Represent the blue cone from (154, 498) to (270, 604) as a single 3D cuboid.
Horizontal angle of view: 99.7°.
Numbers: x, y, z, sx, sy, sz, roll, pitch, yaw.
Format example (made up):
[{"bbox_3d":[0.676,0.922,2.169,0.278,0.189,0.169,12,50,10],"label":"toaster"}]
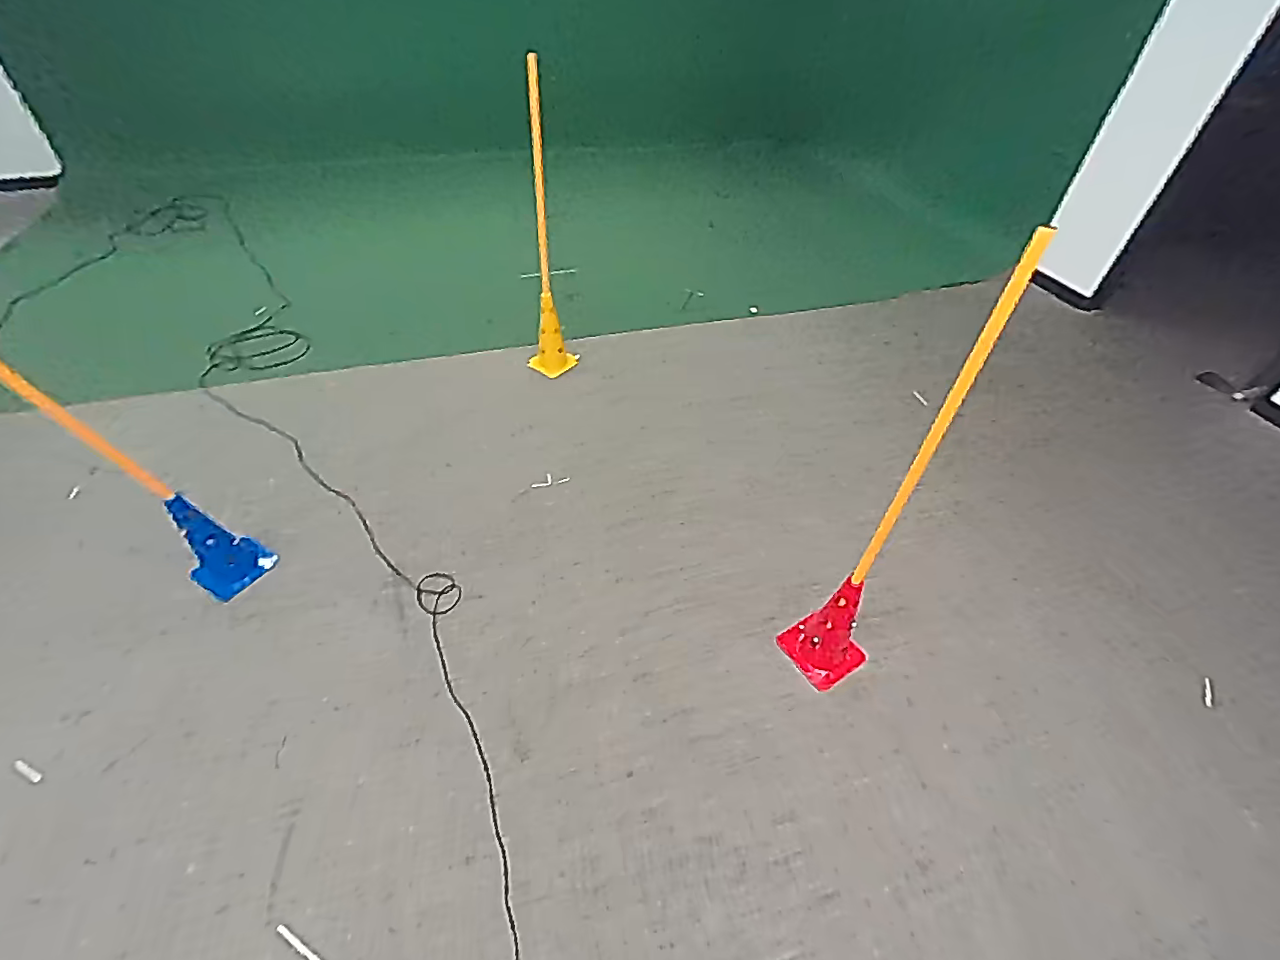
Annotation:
[{"bbox_3d":[-1.328,0.192,1.637,0.192,0.380,0.193,23,52,19],"label":"blue cone"}]
